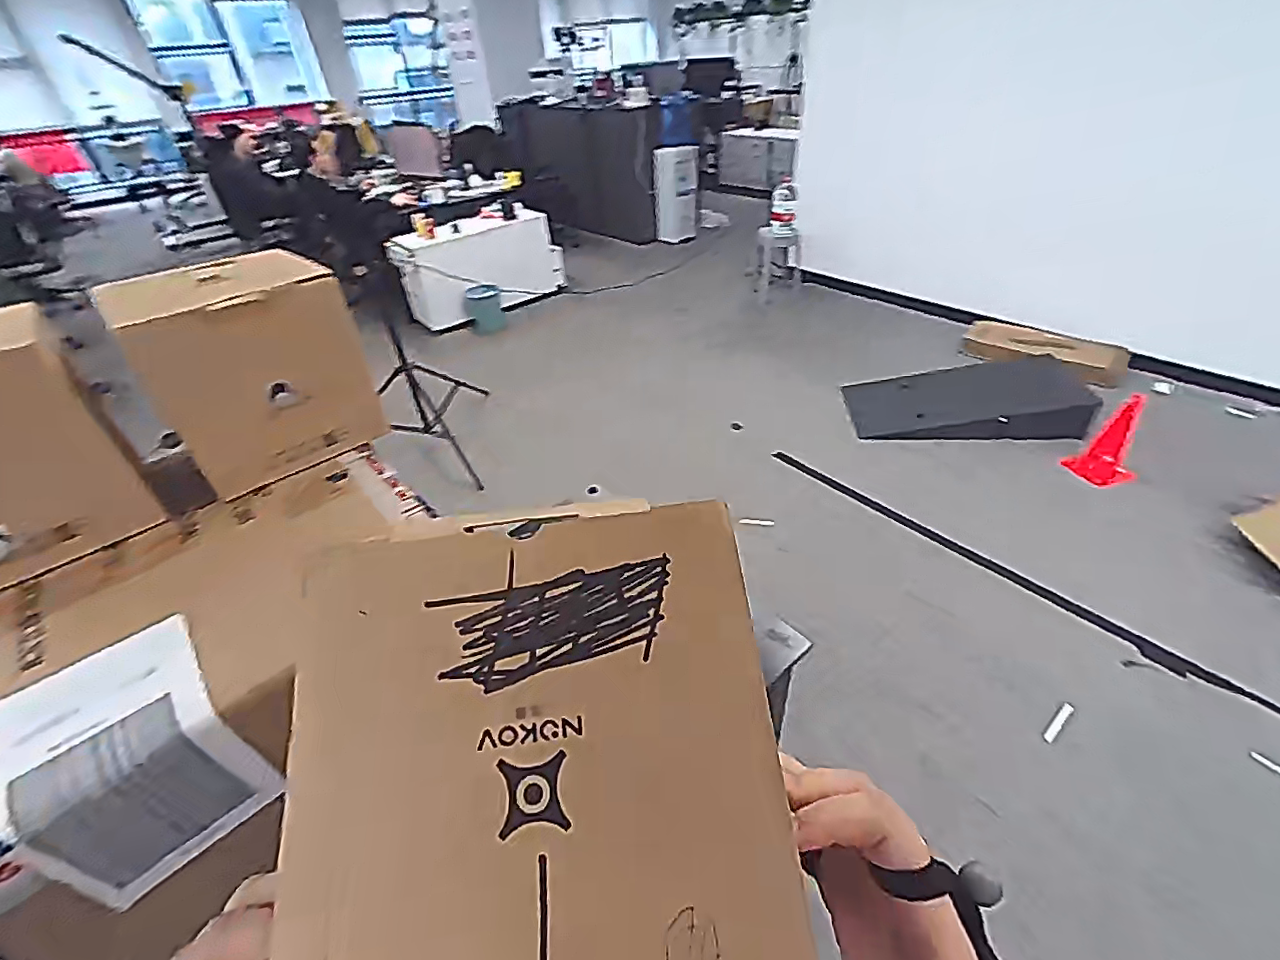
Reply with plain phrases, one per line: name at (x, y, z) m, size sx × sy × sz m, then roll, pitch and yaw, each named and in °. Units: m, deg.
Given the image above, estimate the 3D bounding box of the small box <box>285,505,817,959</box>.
small box at (-0.033, 0.130, 0.263) m, size 0.168 × 0.176 × 0.179 m, roll -7°, pitch 66°, yaw -2°
